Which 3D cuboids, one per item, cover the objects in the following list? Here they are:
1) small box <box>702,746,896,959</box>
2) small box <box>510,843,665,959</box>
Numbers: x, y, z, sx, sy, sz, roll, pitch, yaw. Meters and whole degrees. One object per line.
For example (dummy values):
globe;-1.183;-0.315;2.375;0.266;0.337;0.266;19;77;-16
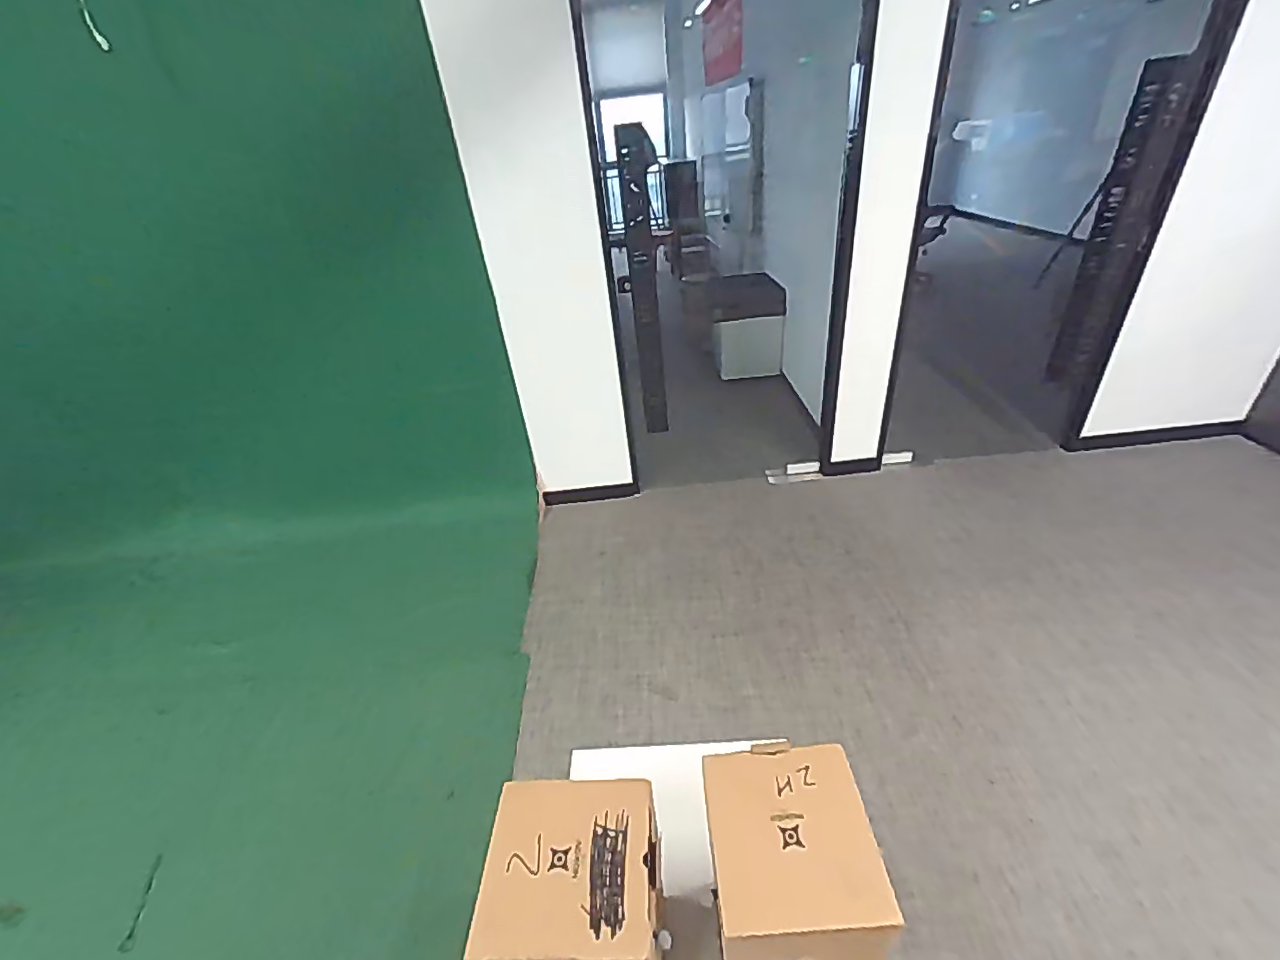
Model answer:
small box;0.164;0.435;0.612;0.168;0.176;0.179;-5;33;2
small box;-0.059;0.600;0.701;0.179;0.176;0.168;-2;33;3
